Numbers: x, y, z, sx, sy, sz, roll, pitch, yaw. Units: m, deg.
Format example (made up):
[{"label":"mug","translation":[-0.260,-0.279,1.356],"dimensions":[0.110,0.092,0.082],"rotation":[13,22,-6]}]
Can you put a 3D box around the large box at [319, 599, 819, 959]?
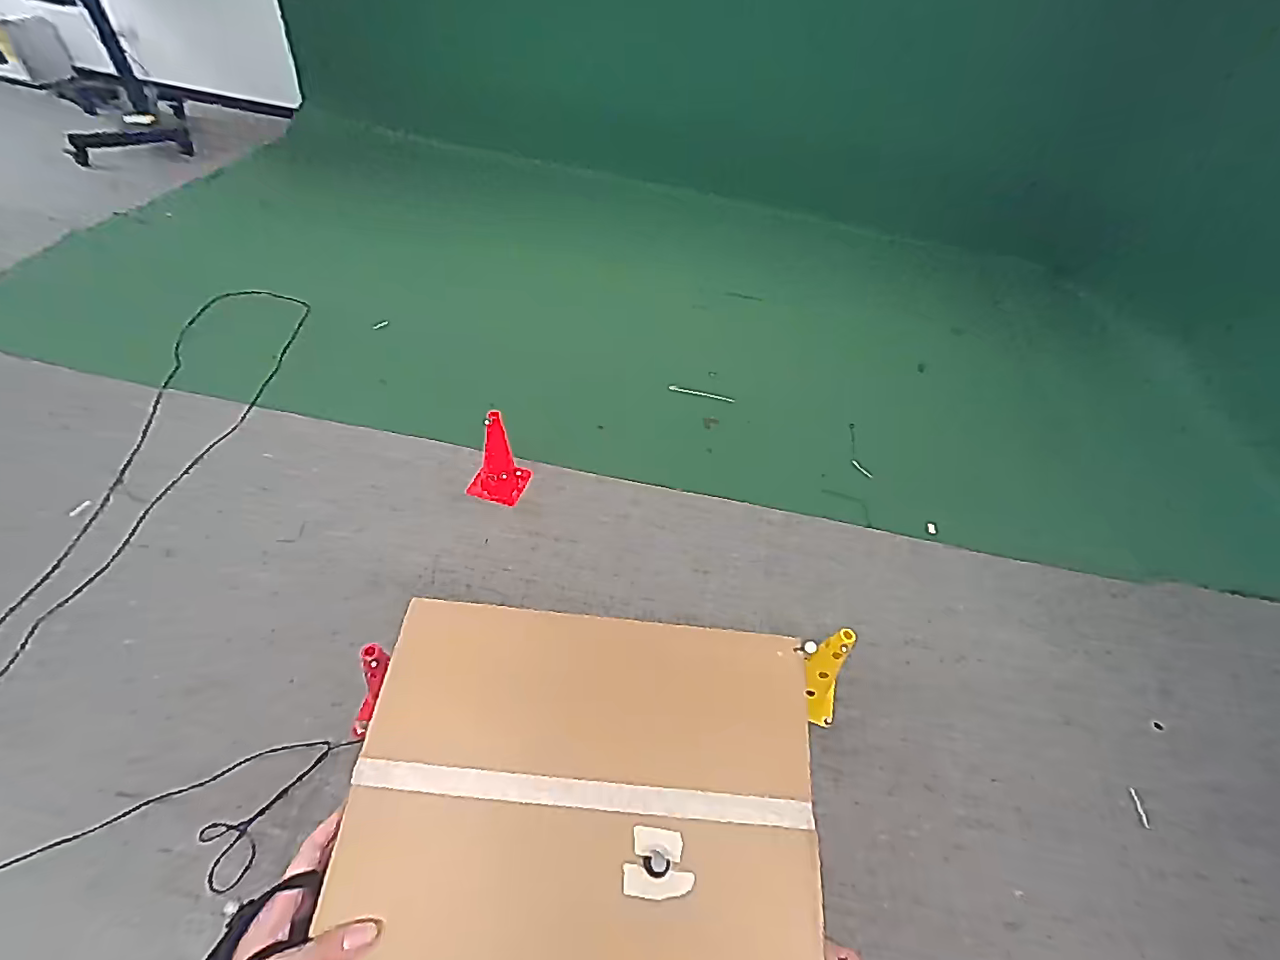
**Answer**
[{"label":"large box","translation":[-0.054,0.347,0.620],"dimensions":[0.408,0.320,0.320],"rotation":[6,61,0]}]

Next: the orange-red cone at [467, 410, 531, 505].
[{"label":"orange-red cone","translation":[-0.526,-0.108,1.973],"dimensions":[0.199,0.360,0.198],"rotation":[16,47,7]}]
